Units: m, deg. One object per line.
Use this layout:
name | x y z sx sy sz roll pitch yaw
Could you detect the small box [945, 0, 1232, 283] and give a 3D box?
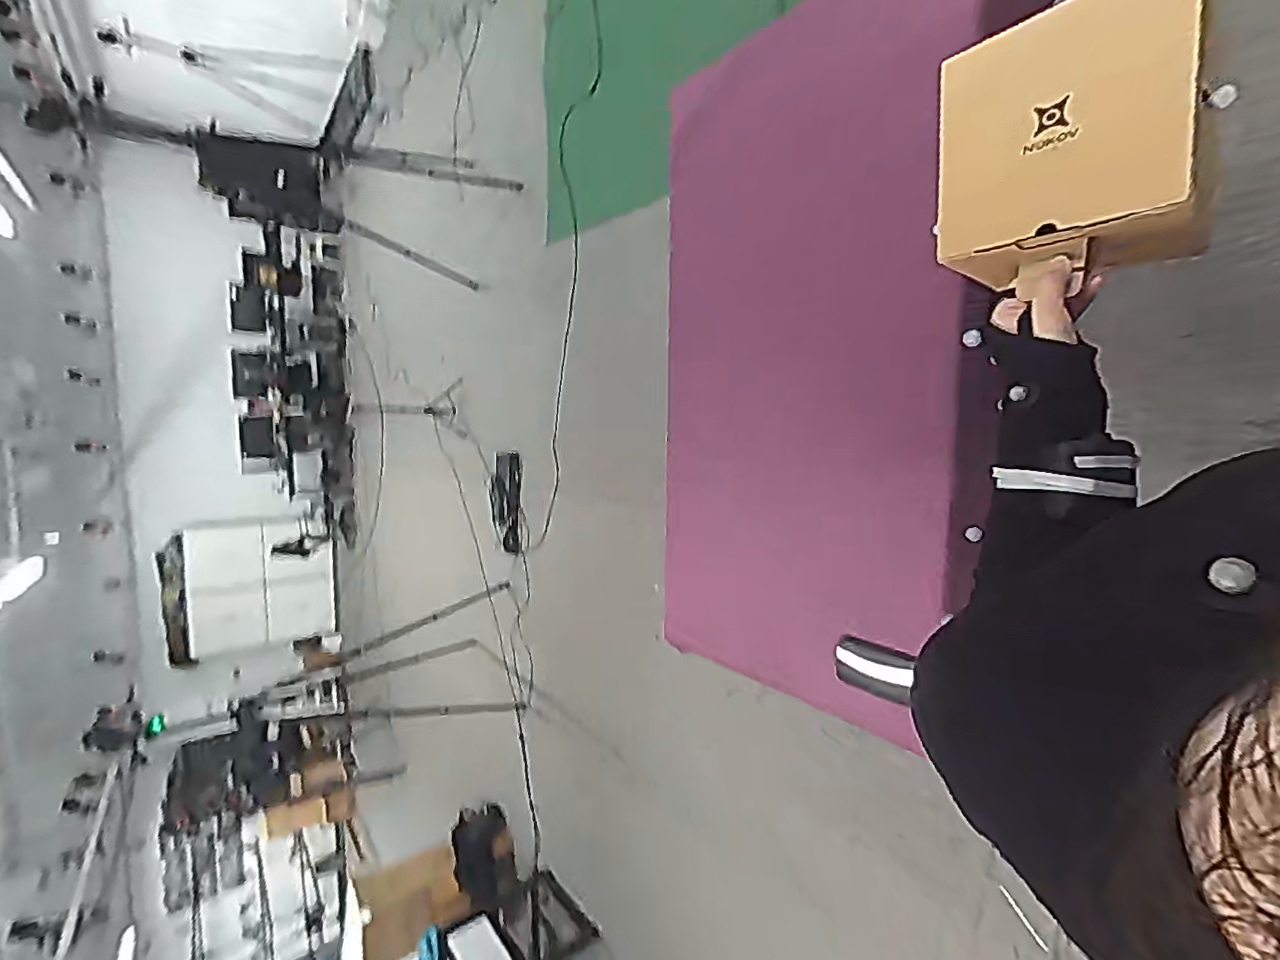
small box | 0.392 -0.289 0.477 0.168 0.176 0.179 7 100 48
